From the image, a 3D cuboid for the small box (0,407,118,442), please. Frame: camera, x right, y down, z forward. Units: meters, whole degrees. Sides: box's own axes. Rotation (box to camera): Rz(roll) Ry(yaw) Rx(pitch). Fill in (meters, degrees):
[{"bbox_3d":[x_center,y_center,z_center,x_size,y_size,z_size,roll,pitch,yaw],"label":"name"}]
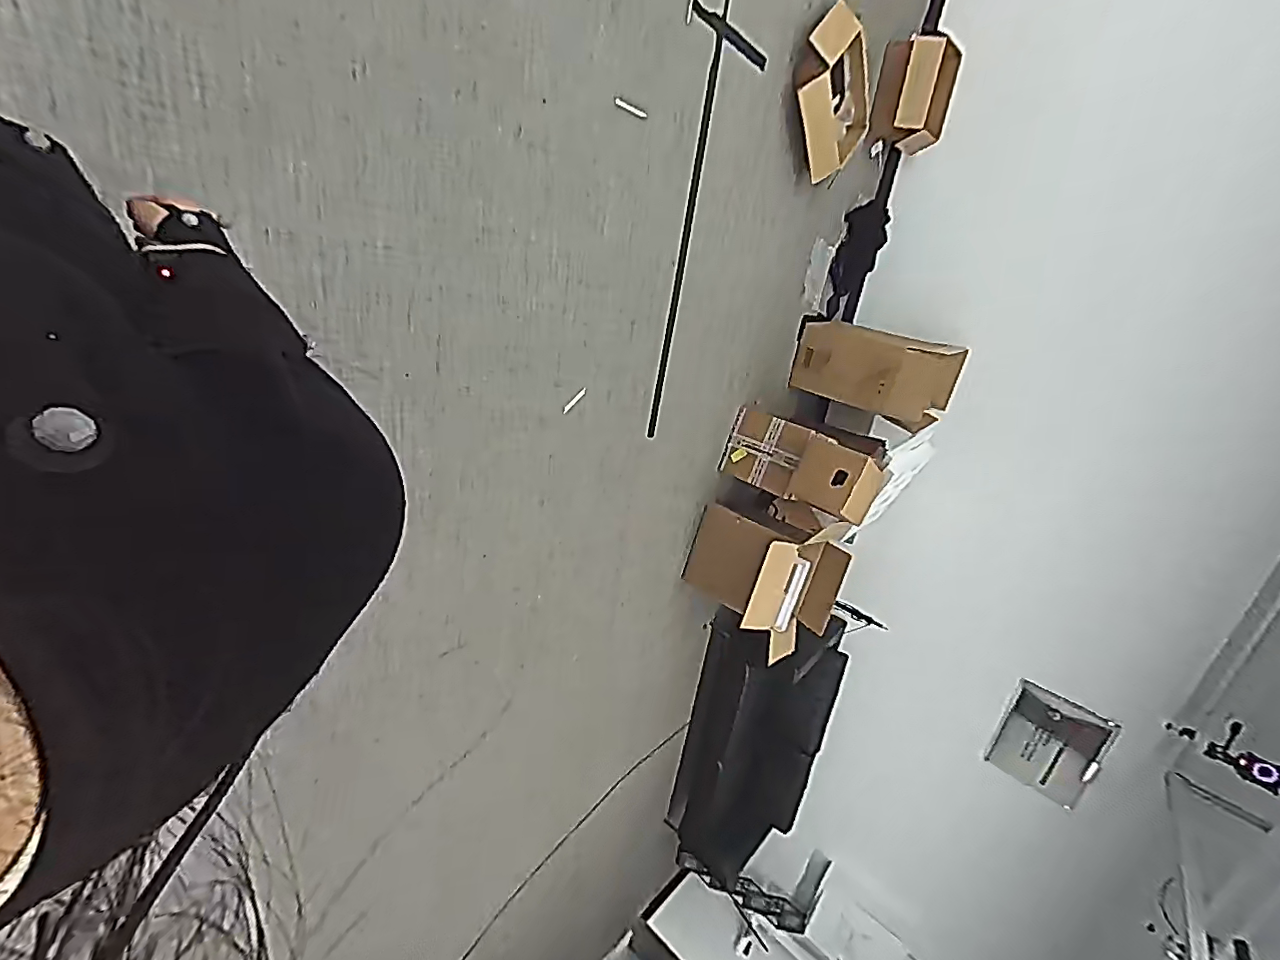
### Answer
[{"bbox_3d":[-1.103,-0.034,1.024,0.168,0.176,0.179,-19,125,-45],"label":"small box"}]
